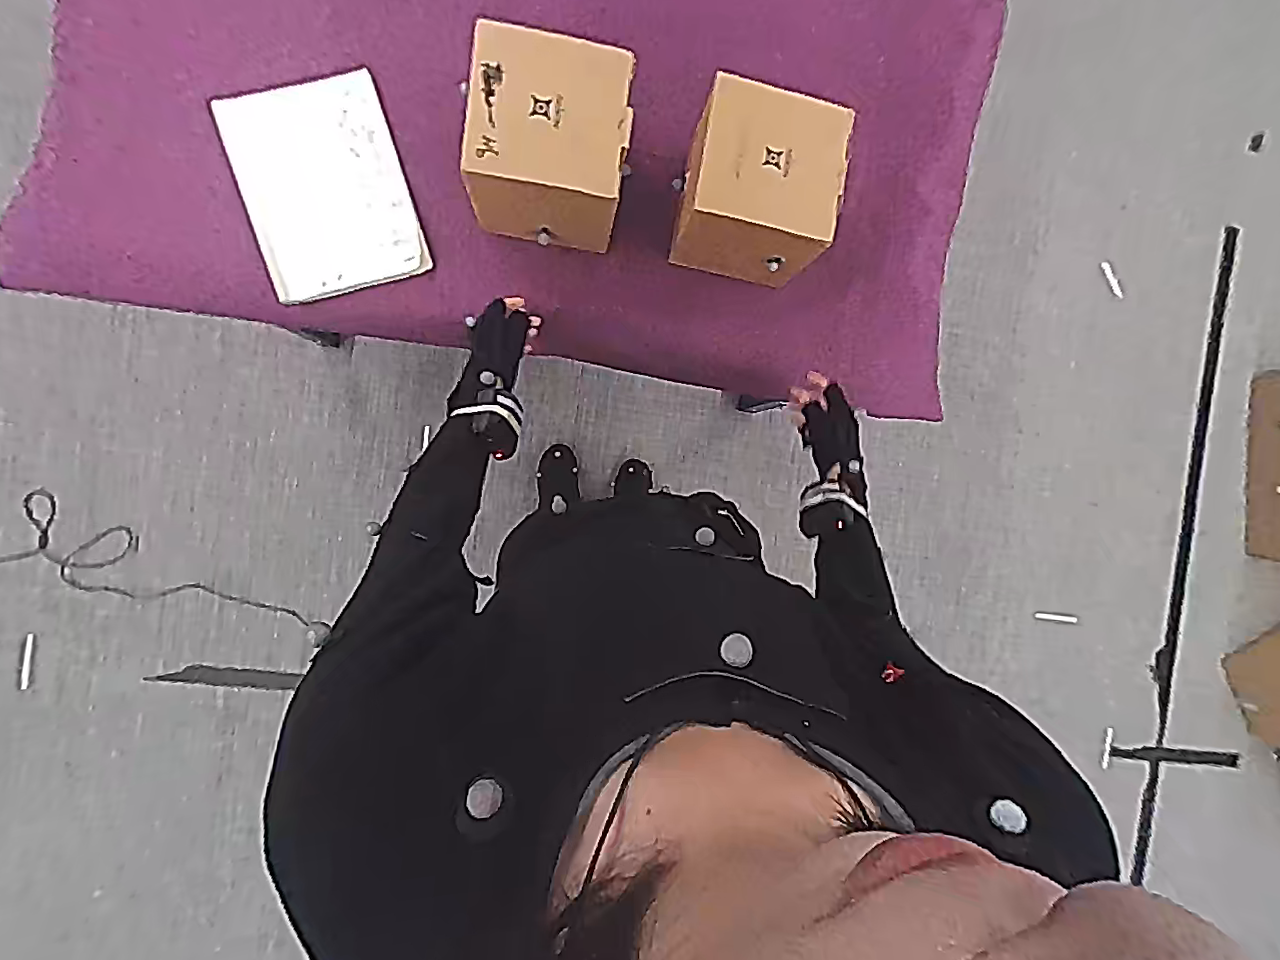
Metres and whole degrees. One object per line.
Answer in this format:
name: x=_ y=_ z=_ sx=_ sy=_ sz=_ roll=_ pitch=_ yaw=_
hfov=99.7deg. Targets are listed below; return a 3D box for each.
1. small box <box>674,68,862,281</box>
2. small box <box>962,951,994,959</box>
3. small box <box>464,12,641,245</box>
small box: x=0.155 y=-0.378 z=0.707 sx=0.179 sy=0.176 sz=0.168 roll=10 pitch=89 yaw=-6
small box: x=1.074 y=1.611 z=1.651 sx=0.168 sy=0.176 sz=0.179 roll=-15 pitch=93 yaw=-7
small box: x=-0.106 y=-0.411 z=0.669 sx=0.179 sy=0.176 sz=0.168 roll=7 pitch=91 yaw=-9
